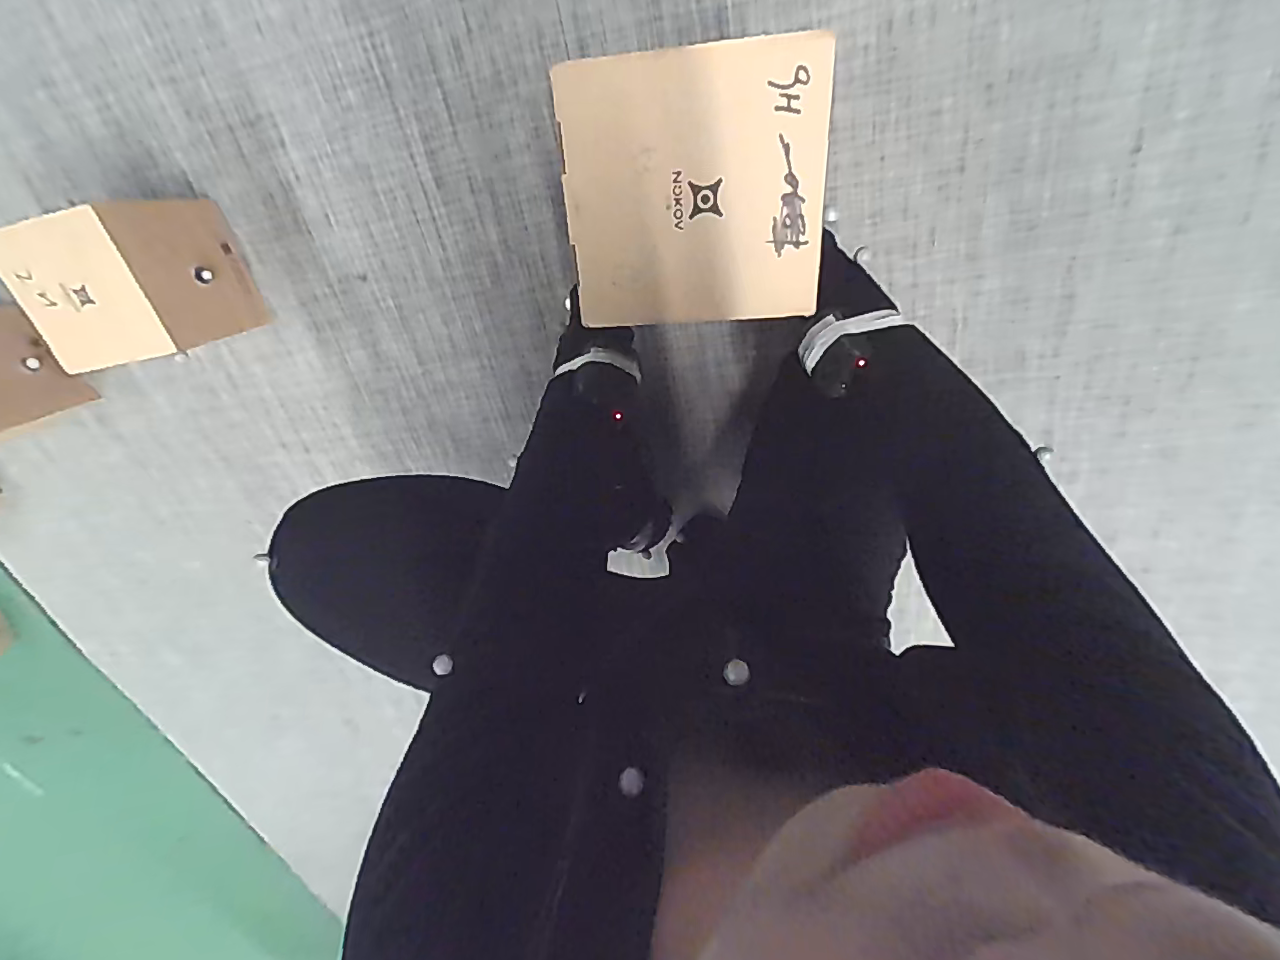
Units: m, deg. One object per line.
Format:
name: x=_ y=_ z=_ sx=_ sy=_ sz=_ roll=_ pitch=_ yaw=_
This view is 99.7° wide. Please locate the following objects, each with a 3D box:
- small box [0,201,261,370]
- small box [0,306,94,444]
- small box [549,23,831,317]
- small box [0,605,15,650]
small box: x=-0.642 y=-0.257 z=0.701 sx=0.179 sy=0.176 sz=0.168 roll=-7 pitch=117 yaw=11
small box: x=-1.006 y=-0.141 z=0.814 sx=0.179 sy=0.176 sz=0.168 roll=-19 pitch=115 yaw=16
small box: x=0.043 y=-0.234 z=0.436 sx=0.179 sy=0.176 sz=0.168 roll=-1 pitch=119 yaw=8
small box: x=-1.516 y=0.328 z=1.142 sx=0.179 sy=0.176 sz=0.168 roll=14 pitch=120 yaw=0
